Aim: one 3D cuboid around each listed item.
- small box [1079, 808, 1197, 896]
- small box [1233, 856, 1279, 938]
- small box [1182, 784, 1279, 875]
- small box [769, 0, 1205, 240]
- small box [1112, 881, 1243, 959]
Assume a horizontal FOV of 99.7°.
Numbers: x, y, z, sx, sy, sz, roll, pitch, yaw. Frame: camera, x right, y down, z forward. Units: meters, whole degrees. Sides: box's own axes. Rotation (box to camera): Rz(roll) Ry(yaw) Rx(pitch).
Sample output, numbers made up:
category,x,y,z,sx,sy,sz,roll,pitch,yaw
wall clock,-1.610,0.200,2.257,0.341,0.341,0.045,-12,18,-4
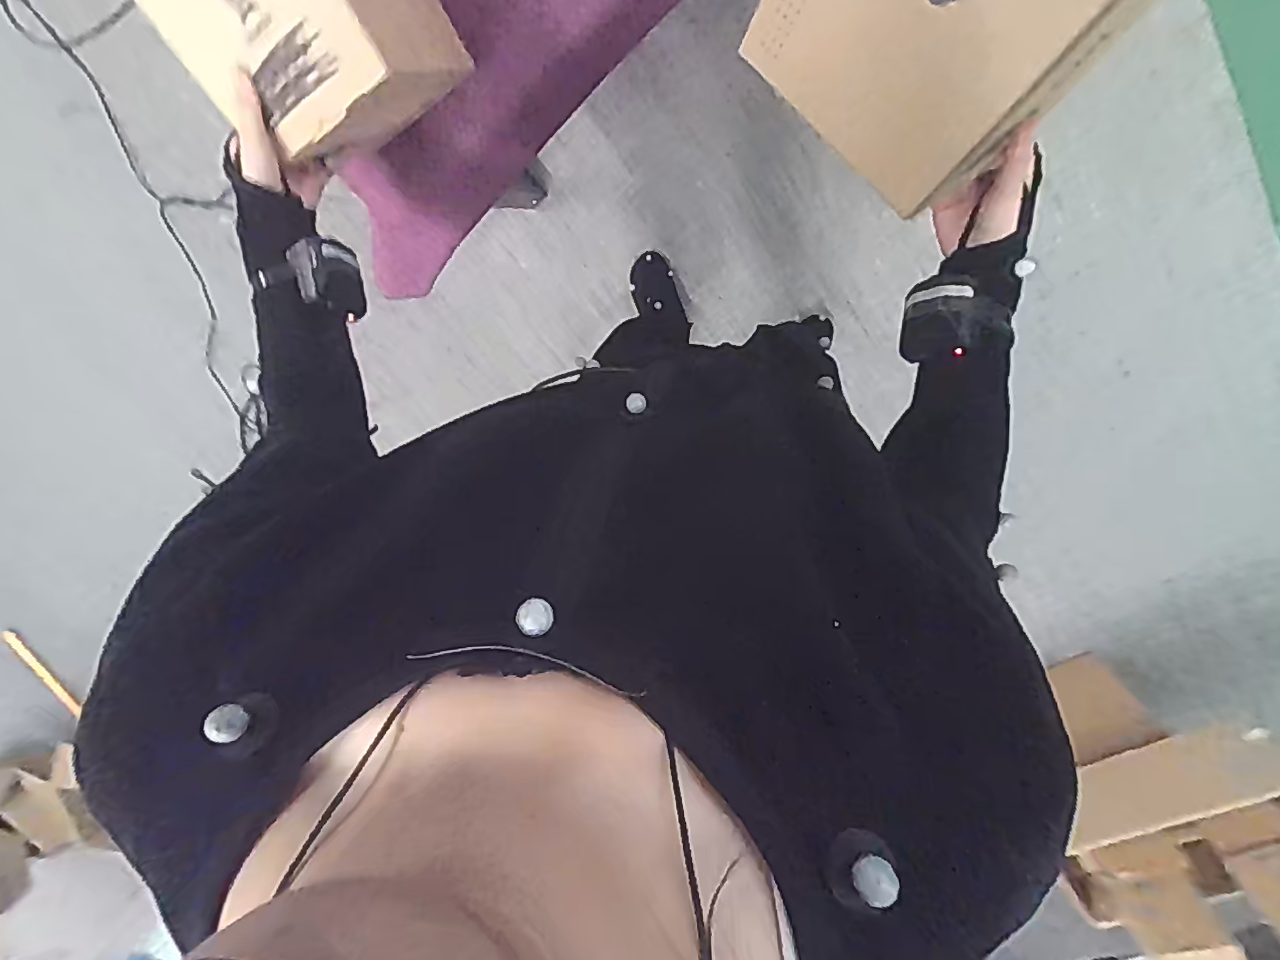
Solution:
category,x,y,z,sx,sy,sz,roll,pitch,yaw
small box,1.323,1.019,1.443,0.168,0.176,0.179,-23,111,16
small box,1.516,0.978,1.218,0.168,0.176,0.179,-36,107,21
small box,1.546,0.911,1.365,0.168,0.176,0.179,-37,107,20
small box,0.205,-0.288,0.322,0.176,0.168,0.179,50,149,5
small box,1.295,1.102,1.304,0.168,0.176,0.179,-27,110,18
